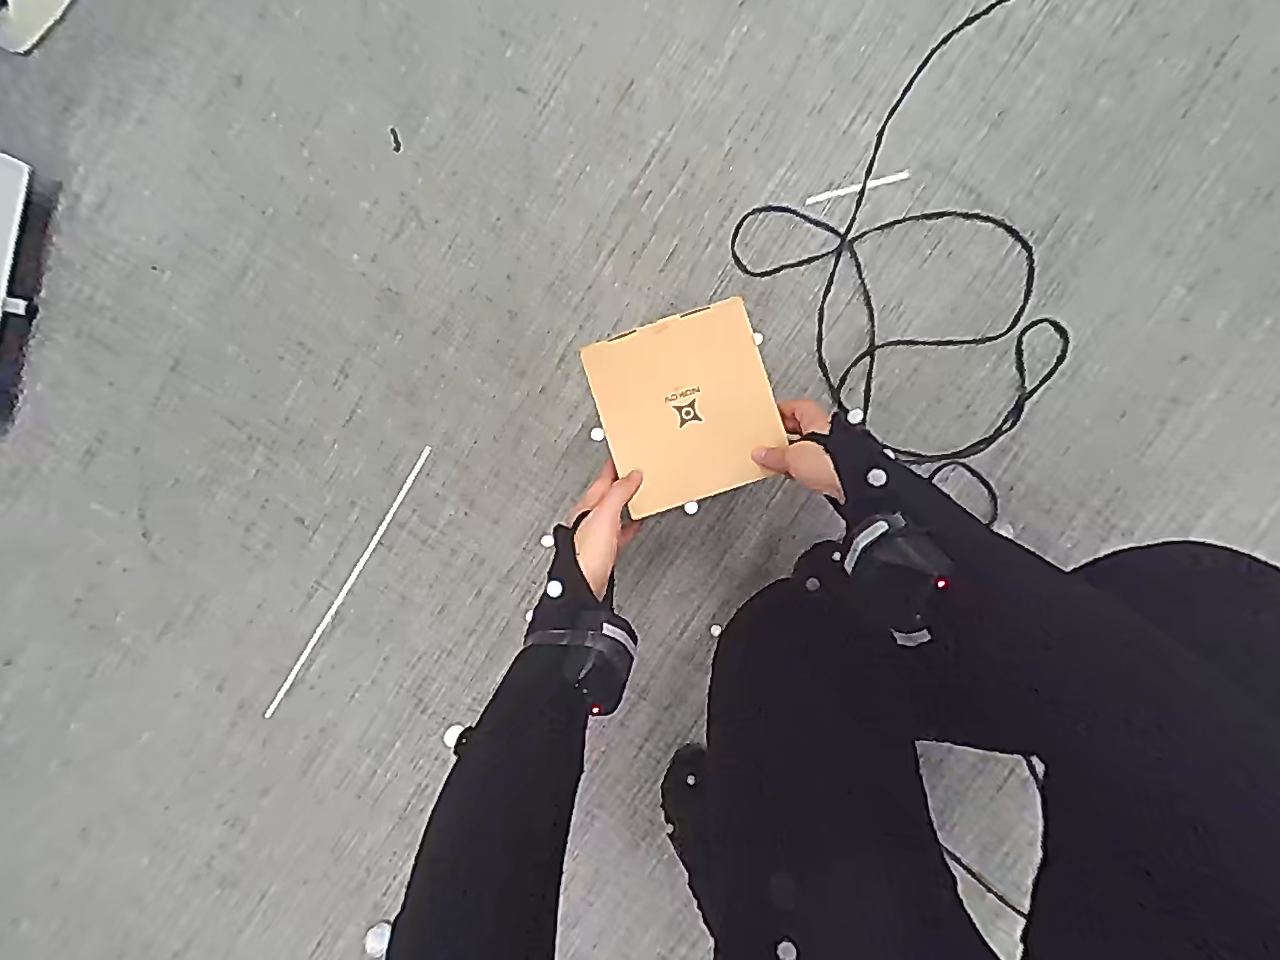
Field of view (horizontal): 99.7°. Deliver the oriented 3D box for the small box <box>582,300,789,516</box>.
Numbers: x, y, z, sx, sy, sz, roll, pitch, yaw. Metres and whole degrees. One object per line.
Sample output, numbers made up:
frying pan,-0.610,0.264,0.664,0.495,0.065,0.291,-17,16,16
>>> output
small box,0.050,-0.071,0.609,0.168,0.176,0.179,-19,88,3
